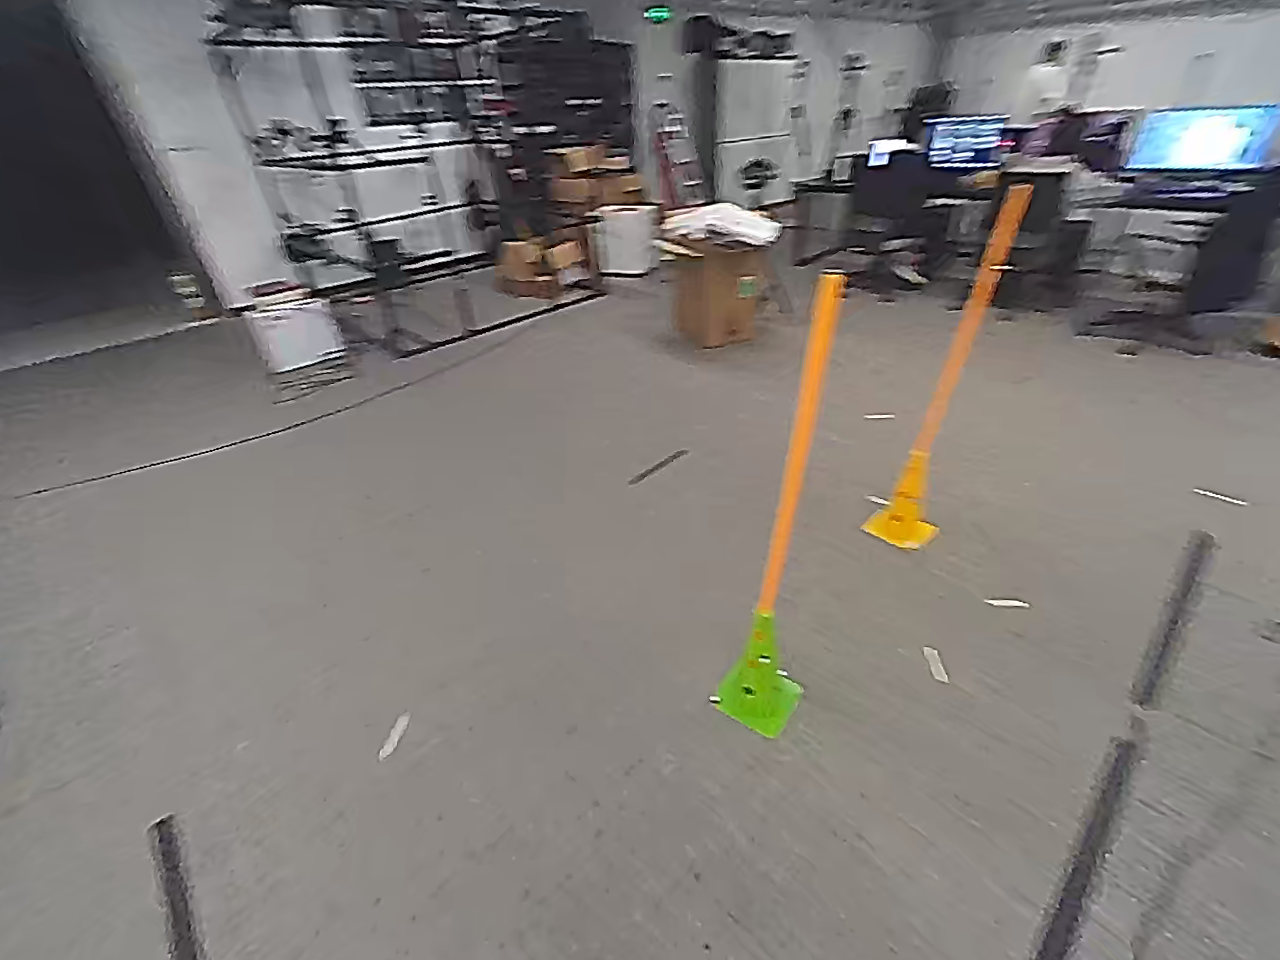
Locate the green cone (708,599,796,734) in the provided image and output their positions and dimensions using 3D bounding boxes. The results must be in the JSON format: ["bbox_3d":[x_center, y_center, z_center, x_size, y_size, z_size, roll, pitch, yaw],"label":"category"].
[{"bbox_3d":[0.316,0.469,1.461,0.200,0.368,0.202,20,39,30],"label":"green cone"}]
